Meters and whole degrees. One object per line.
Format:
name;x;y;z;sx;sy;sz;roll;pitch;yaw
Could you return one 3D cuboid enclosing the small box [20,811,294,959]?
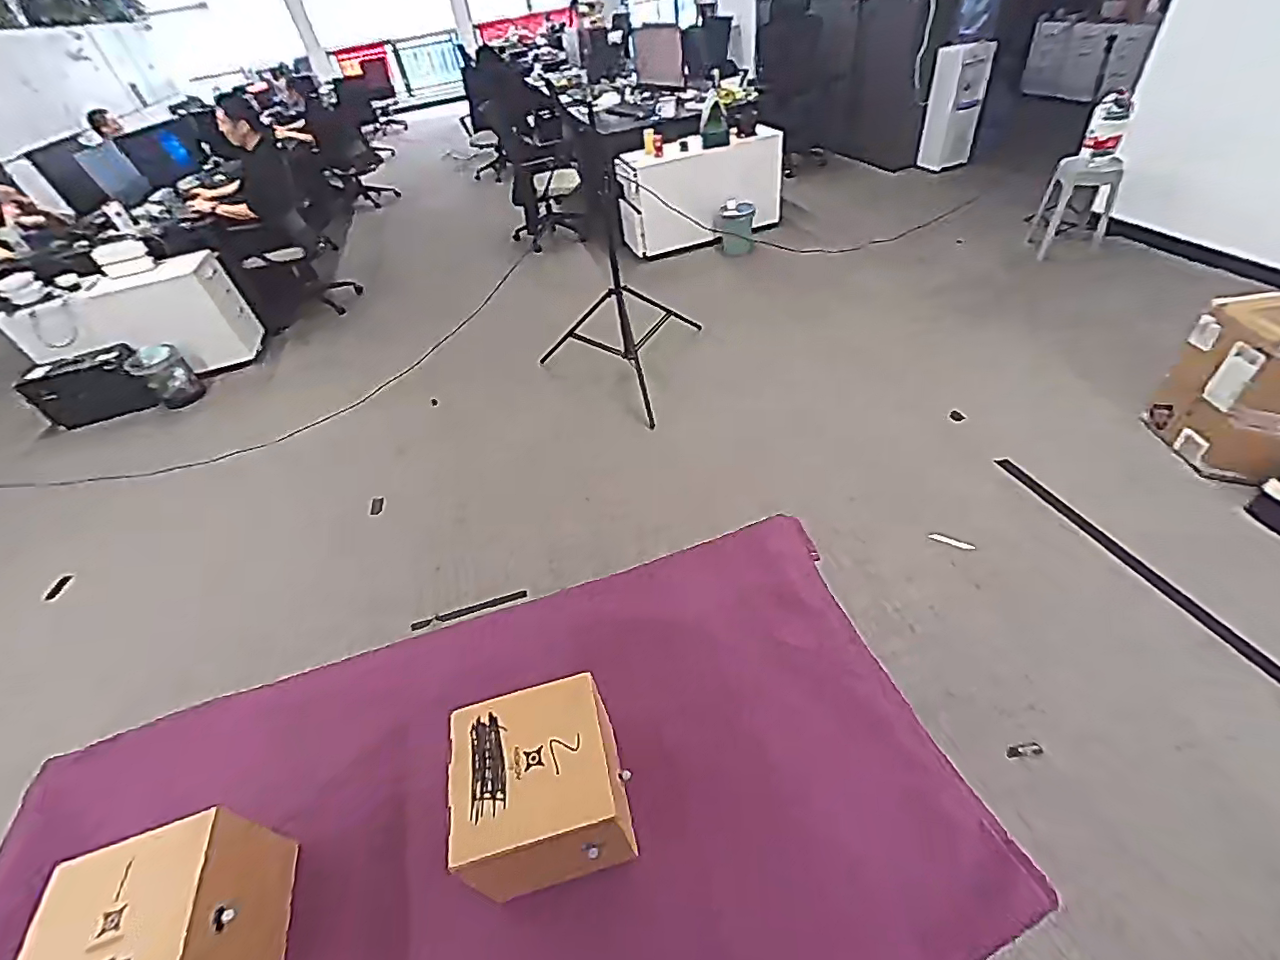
small box;-0.511;0.503;0.587;0.168;0.176;0.179;-18;43;-9
